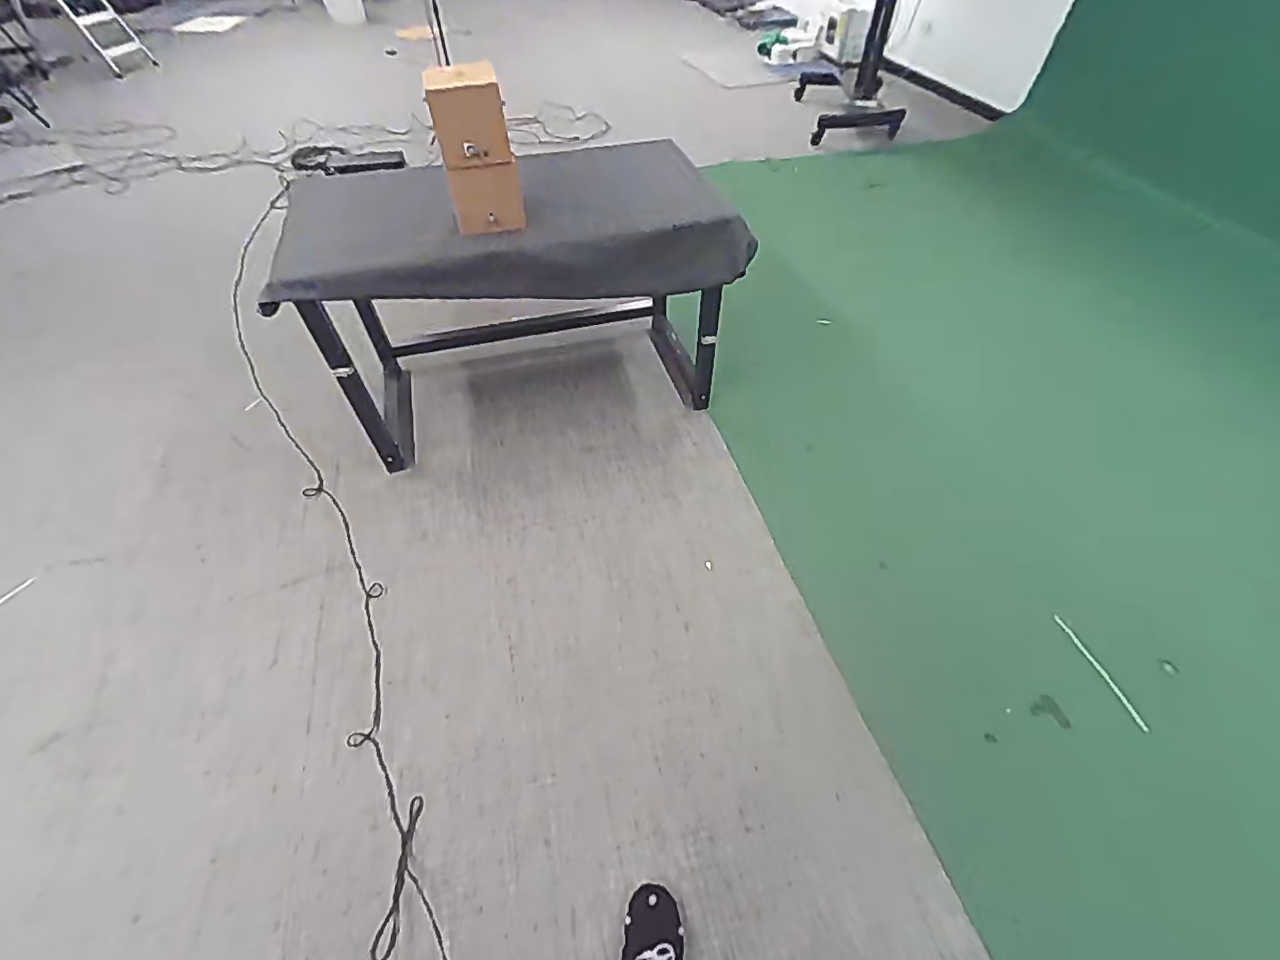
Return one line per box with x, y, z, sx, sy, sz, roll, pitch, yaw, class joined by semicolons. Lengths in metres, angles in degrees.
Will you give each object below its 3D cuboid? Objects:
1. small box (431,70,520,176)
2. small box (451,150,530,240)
-0.398;-0.867;1.314;0.168;0.176;0.179;-14;52;-8;small box
-0.394;-0.762;1.439;0.179;0.176;0.168;-12;50;-9;small box
